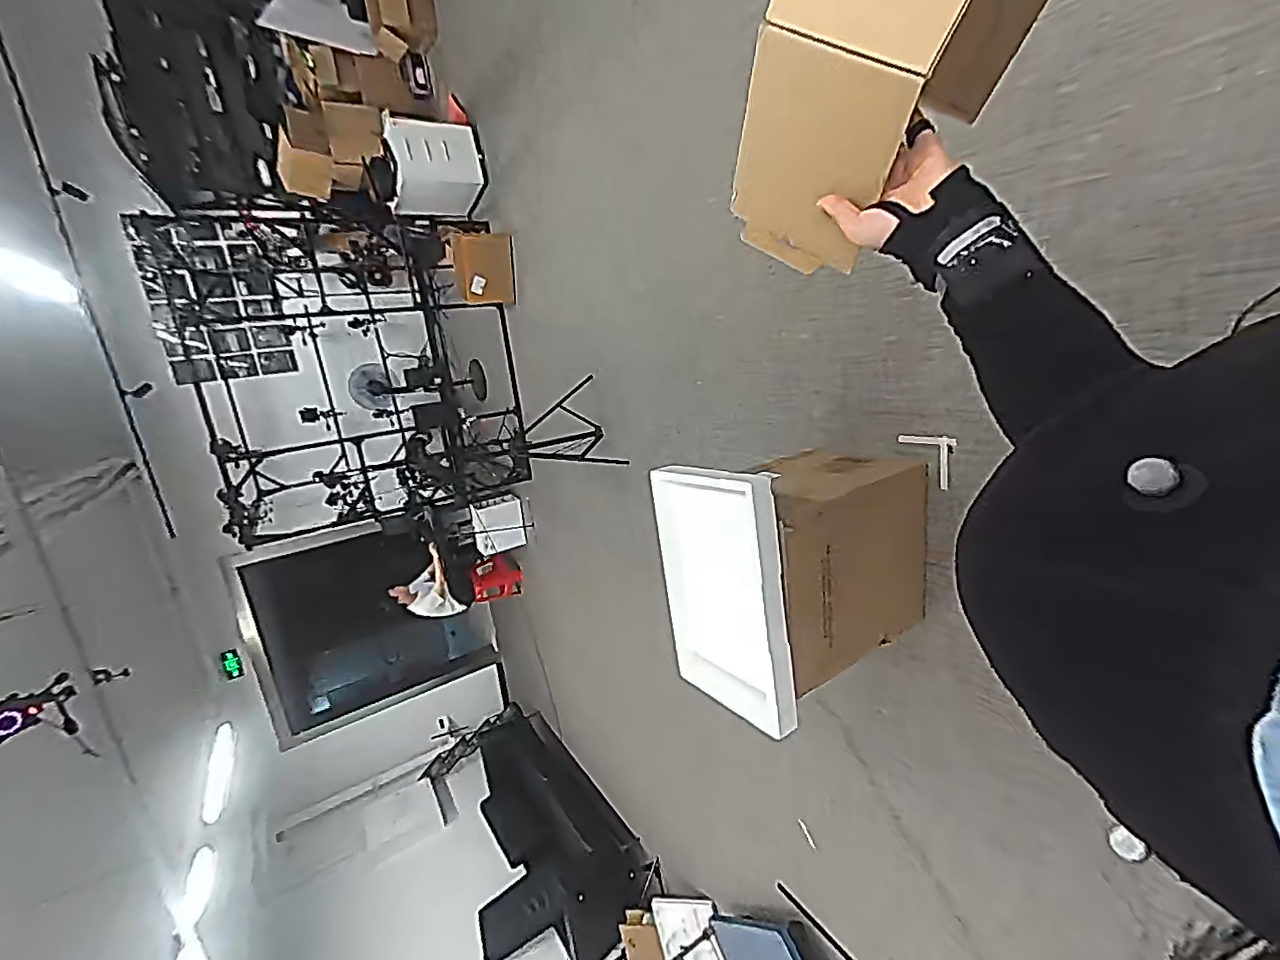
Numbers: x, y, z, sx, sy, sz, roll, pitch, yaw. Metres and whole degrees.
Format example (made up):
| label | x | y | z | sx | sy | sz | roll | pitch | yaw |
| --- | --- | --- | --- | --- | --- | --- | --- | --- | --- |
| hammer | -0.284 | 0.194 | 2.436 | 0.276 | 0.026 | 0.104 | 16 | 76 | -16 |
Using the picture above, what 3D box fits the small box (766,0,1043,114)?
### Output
| label | x | y | z | sx | sy | sz | roll | pitch | yaw |
| --- | --- | --- | --- | --- | --- | --- | --- | --- | --- |
| small box | 0.246 | -0.446 | 0.458 | 0.168 | 0.176 | 0.179 | 43 | 128 | 24 |
